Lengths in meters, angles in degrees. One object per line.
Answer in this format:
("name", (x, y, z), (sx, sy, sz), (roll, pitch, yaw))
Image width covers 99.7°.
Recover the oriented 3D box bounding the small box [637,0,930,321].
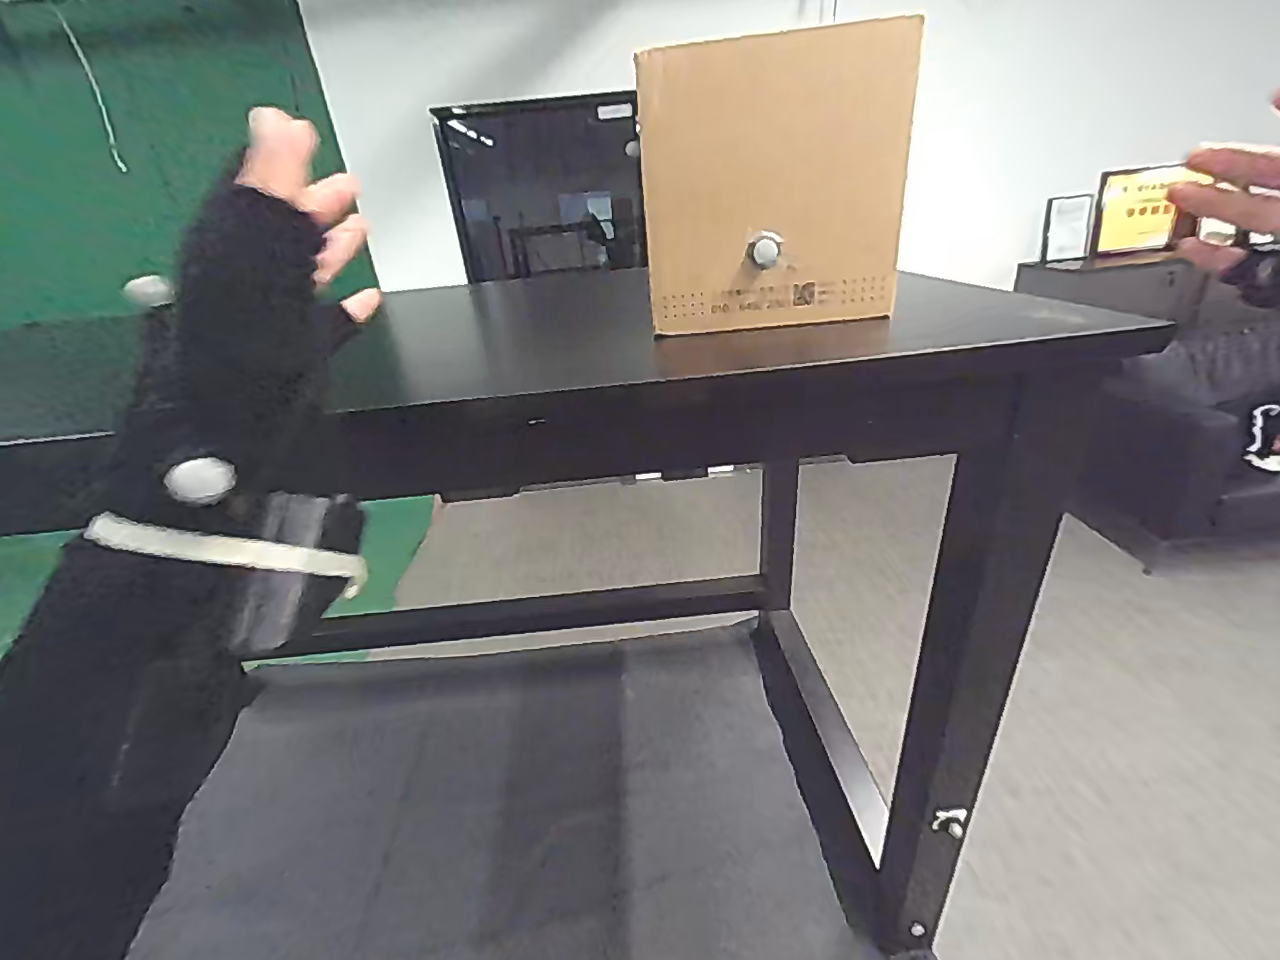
("small box", (0.090, -0.223, 0.412), (0.168, 0.176, 0.179), (-4, 27, 5))
